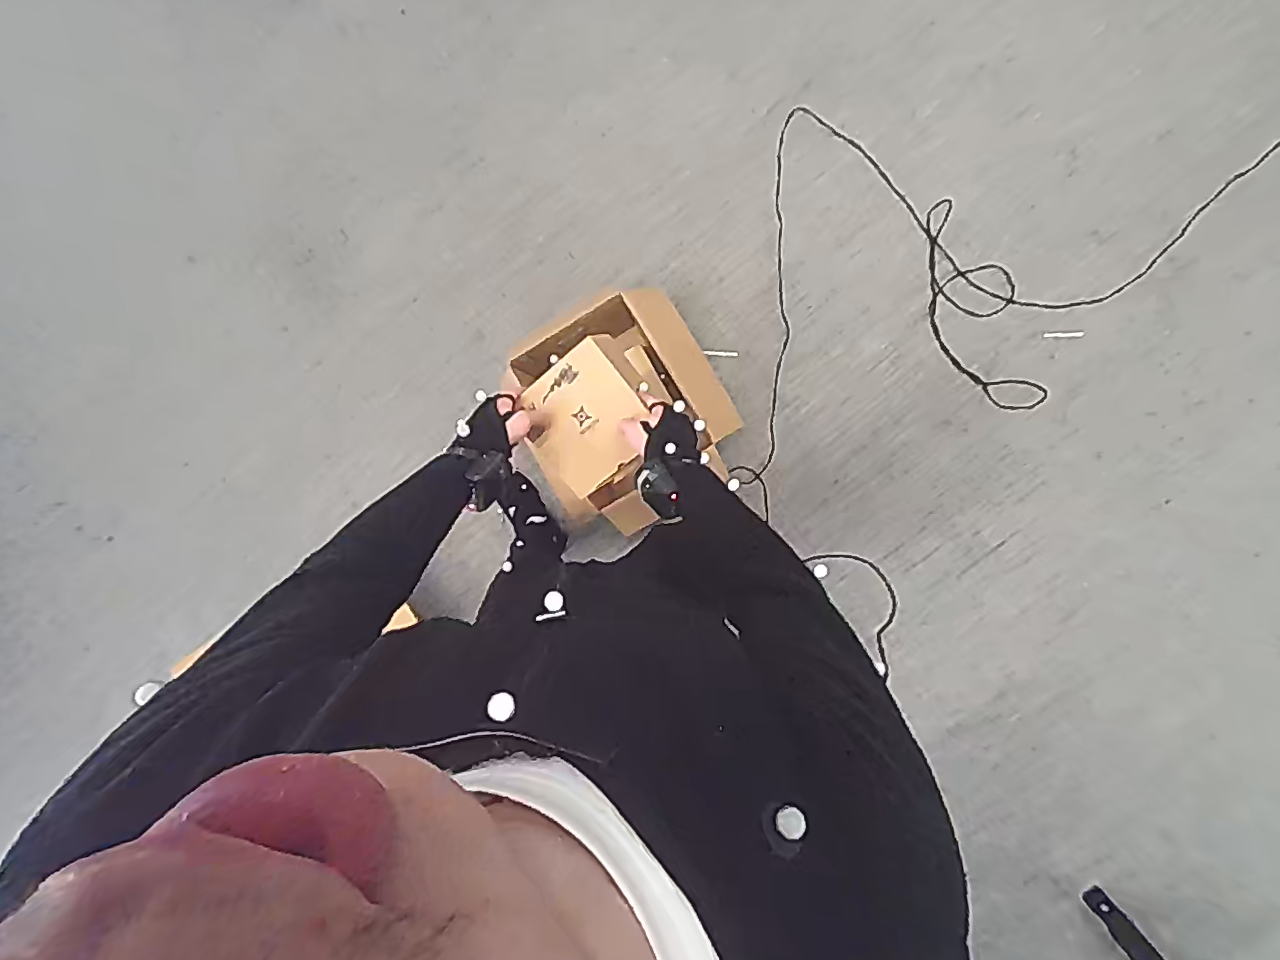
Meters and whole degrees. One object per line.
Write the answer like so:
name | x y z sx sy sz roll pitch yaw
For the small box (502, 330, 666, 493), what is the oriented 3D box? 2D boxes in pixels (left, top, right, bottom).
small box | -0.072 -0.115 0.830 0.168 0.176 0.179 -36 100 14
